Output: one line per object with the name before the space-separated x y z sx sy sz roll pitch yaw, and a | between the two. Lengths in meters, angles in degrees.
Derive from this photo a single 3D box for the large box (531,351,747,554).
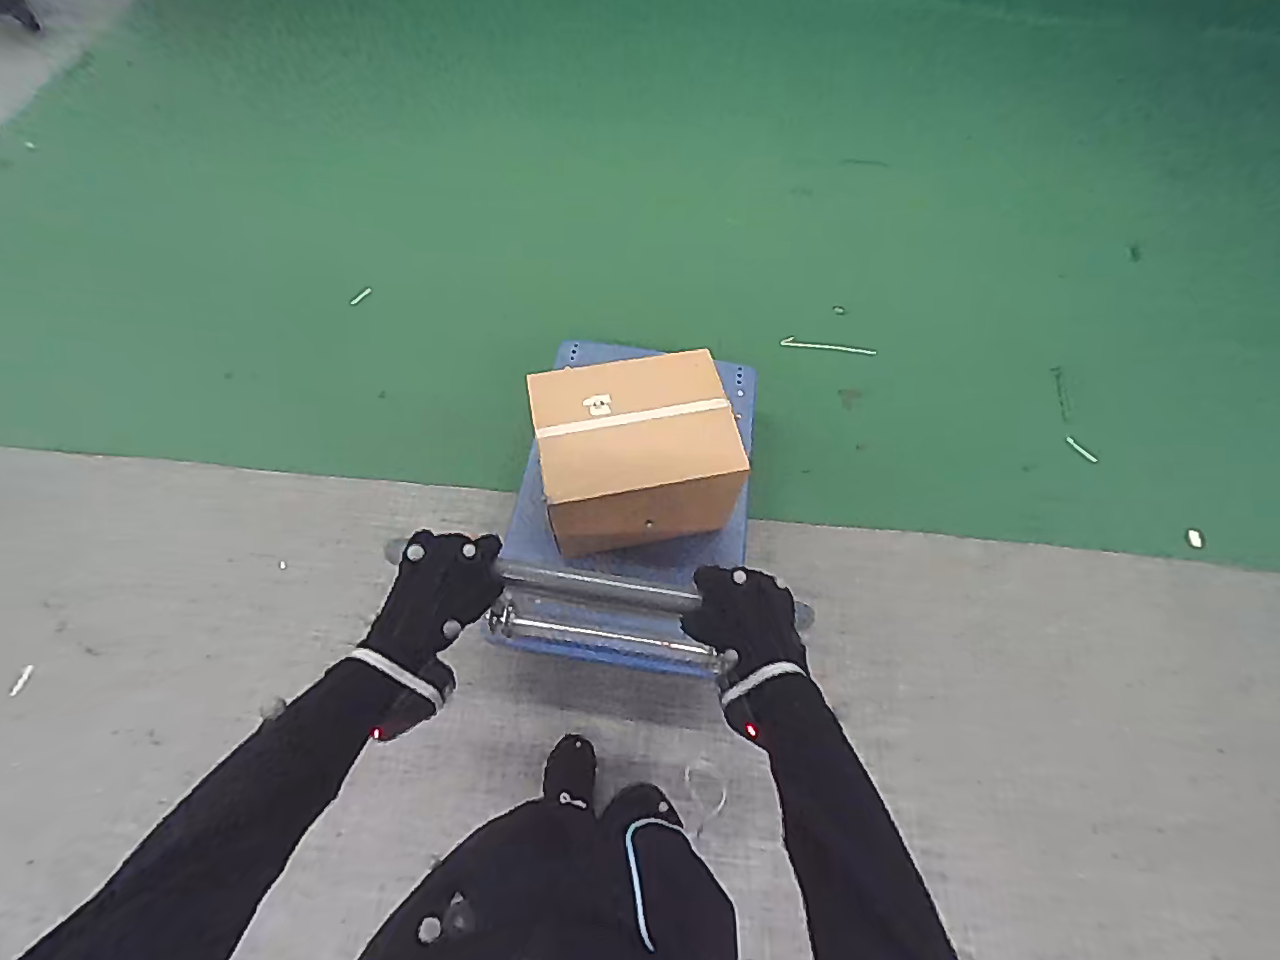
large box | -0.011 -0.054 1.254 0.408 0.320 0.320 -11 63 -6
